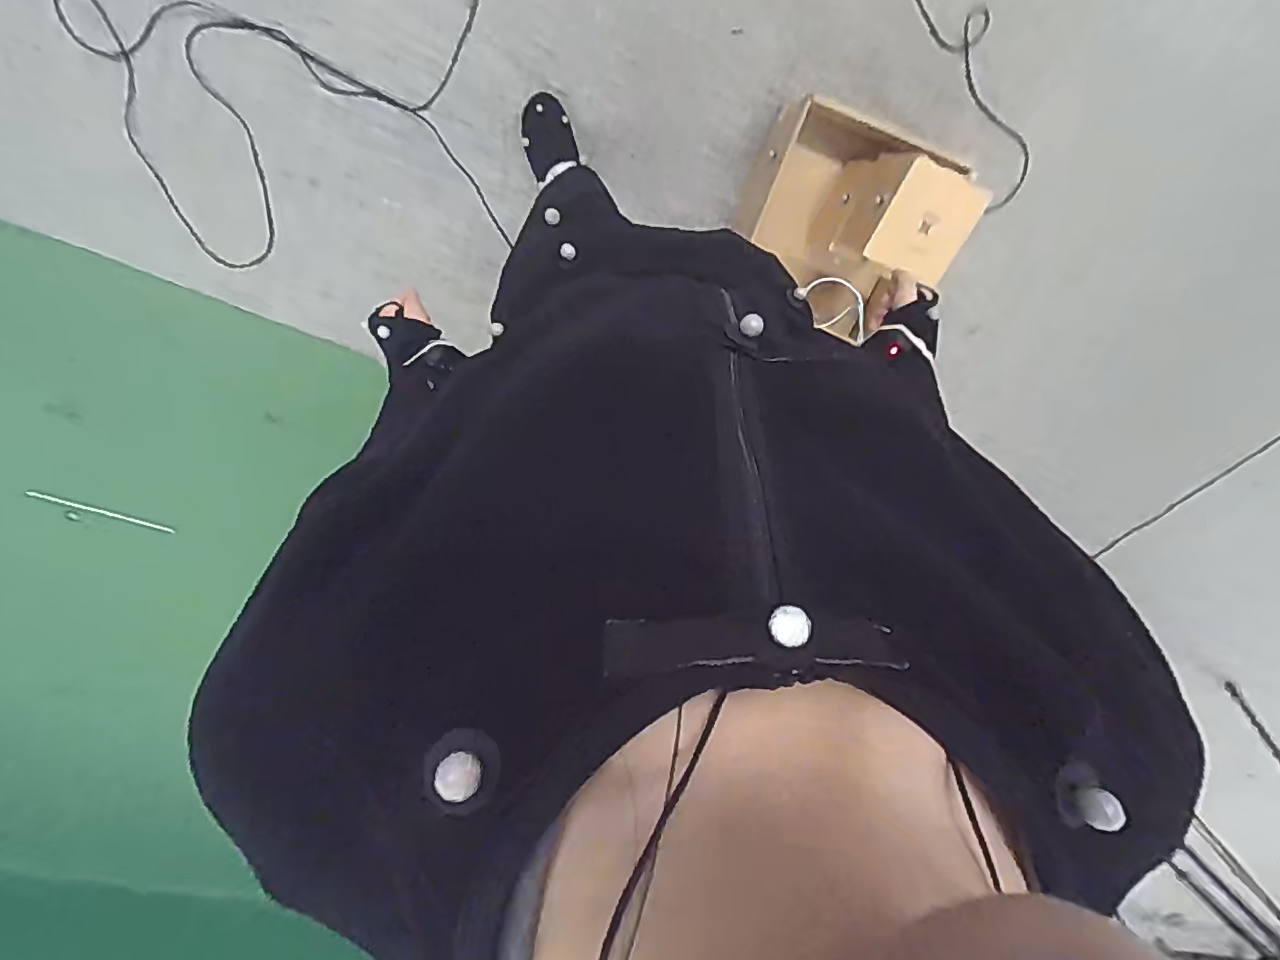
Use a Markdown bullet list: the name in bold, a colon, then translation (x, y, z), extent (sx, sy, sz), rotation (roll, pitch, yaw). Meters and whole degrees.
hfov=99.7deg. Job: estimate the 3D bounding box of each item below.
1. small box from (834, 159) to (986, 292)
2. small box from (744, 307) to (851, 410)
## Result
- **small box**: translation (0.506, -0.495, 1.047), extent (0.168, 0.176, 0.179), rotation (19, 118, -13)
- **small box**: translation (0.378, -0.306, 1.339), extent (0.168, 0.176, 0.179), rotation (20, 117, -14)
